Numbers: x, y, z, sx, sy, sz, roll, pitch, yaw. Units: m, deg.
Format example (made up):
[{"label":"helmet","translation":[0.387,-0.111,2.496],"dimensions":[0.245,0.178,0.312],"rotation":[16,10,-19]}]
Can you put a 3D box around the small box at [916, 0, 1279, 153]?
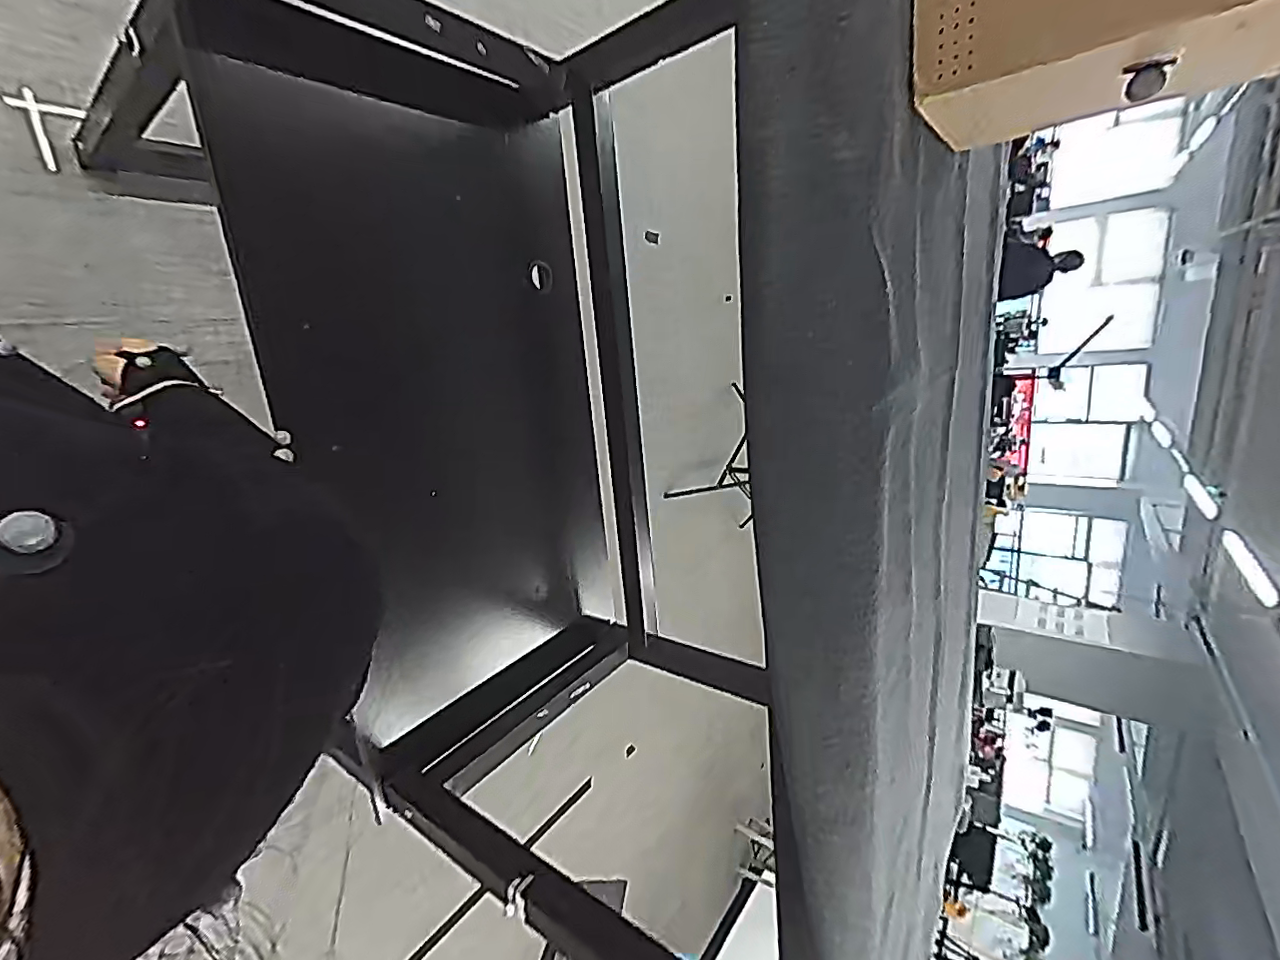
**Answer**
[{"label":"small box","translation":[0.249,-0.288,0.277],"dimensions":[0.179,0.176,0.168],"rotation":[-29,118,-49]}]
